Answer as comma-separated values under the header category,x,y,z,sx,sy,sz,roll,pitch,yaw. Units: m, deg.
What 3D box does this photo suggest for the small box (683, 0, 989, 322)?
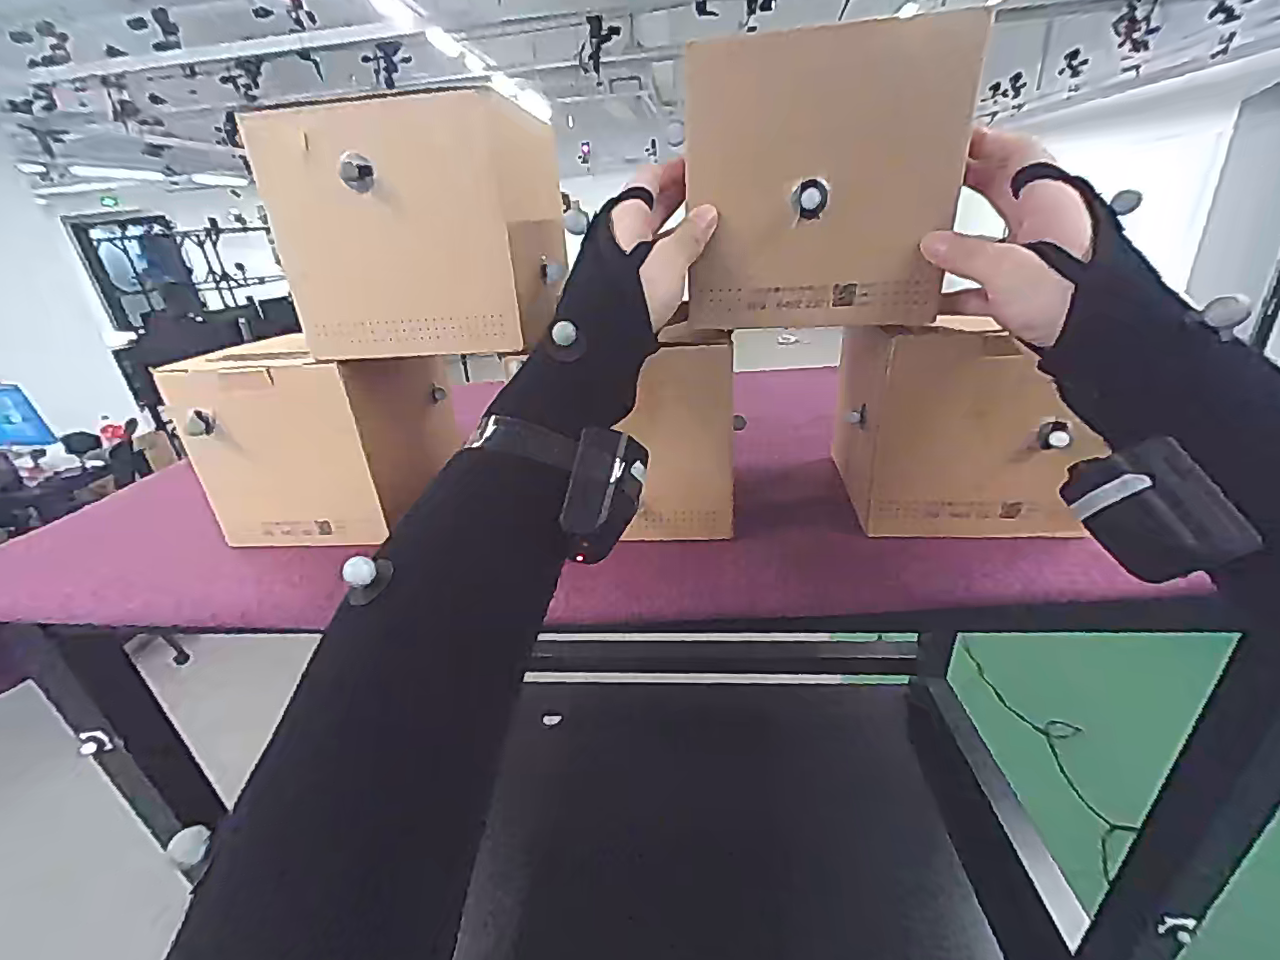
category,x,y,z,sx,sy,sz,roll,pitch,yaw
small box,0.125,-0.217,0.405,0.168,0.176,0.179,2,28,10

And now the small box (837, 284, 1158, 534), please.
category,x,y,z,sx,sy,sz,roll,pitch,yaw
small box,0.273,-0.064,0.466,0.168,0.176,0.179,0,26,10

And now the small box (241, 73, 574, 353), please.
category,x,y,z,sx,sy,sz,roll,pitch,yaw
small box,-0.163,-0.203,0.445,0.179,0.176,0.168,0,25,7
